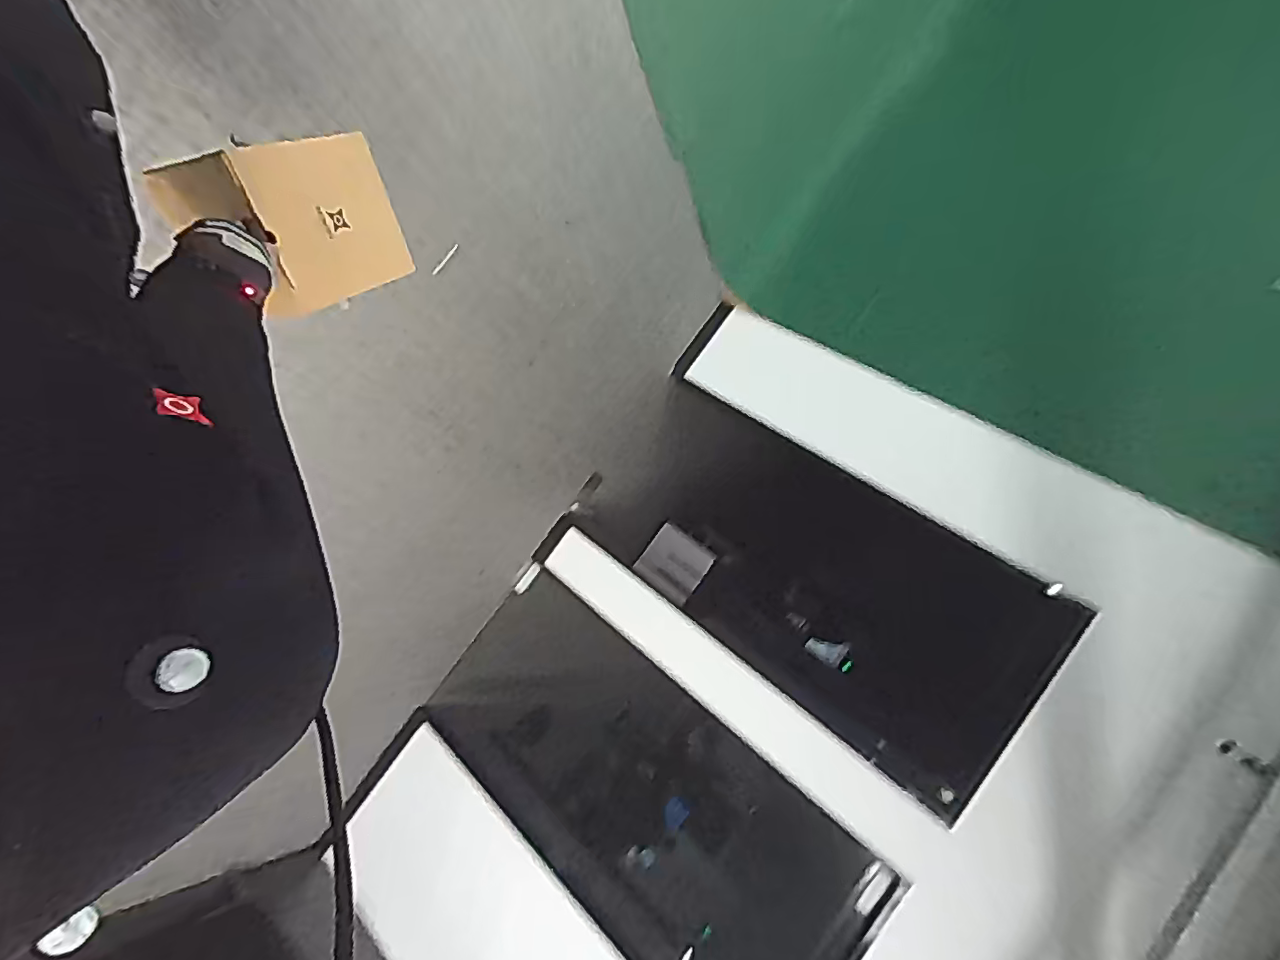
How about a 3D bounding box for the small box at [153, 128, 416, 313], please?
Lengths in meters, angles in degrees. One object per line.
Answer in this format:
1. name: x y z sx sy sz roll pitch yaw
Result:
1. small box: -0.422 -0.313 0.661 0.179 0.176 0.168 -53 140 -44
